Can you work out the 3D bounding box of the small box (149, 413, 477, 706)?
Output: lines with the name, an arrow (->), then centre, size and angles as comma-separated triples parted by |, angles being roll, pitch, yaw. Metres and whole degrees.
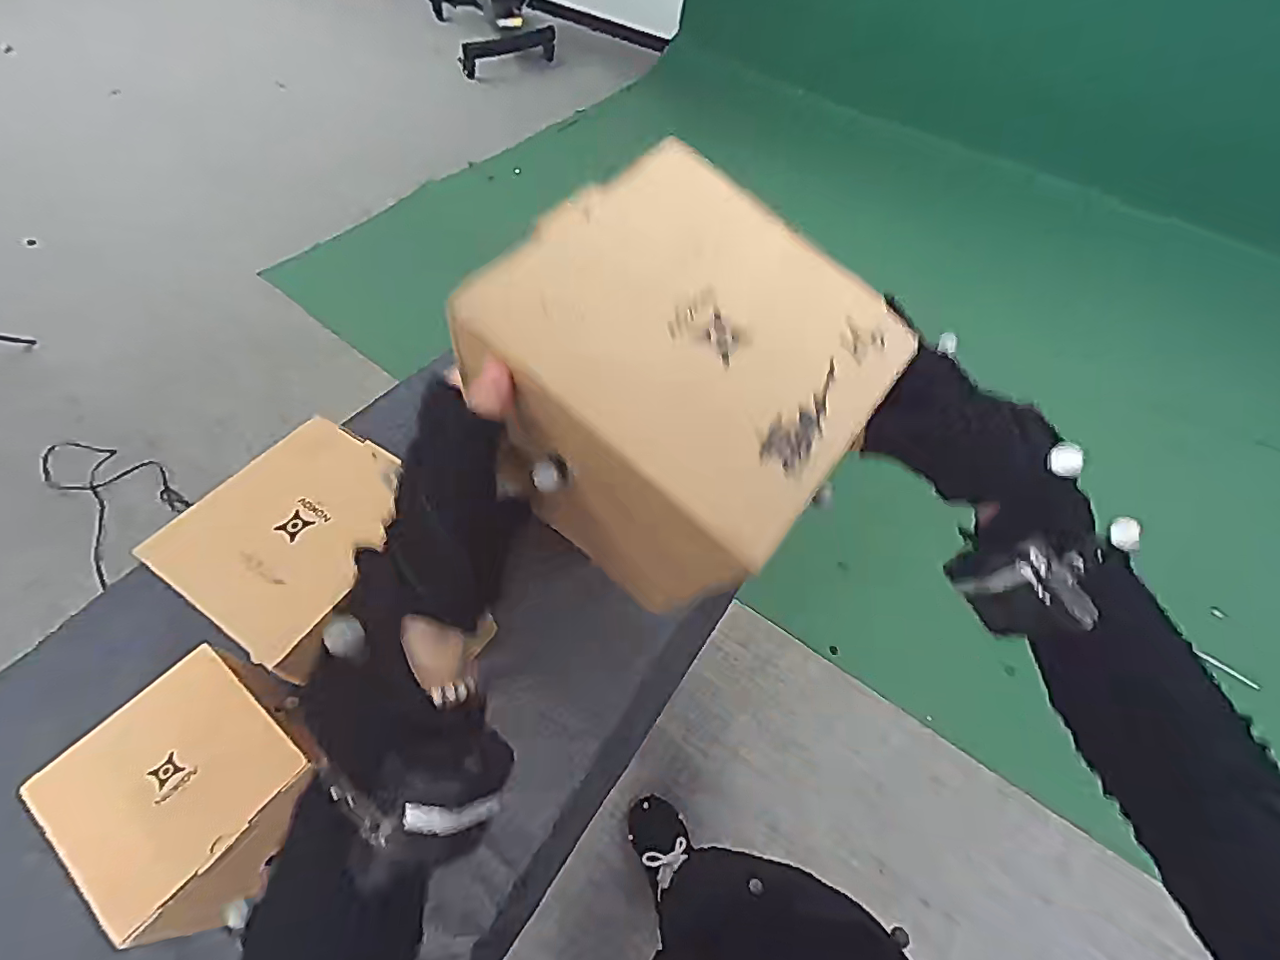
small box -> -0.275, 0.078, 0.507 | 0.168, 0.176, 0.179 | 30, 60, 16
